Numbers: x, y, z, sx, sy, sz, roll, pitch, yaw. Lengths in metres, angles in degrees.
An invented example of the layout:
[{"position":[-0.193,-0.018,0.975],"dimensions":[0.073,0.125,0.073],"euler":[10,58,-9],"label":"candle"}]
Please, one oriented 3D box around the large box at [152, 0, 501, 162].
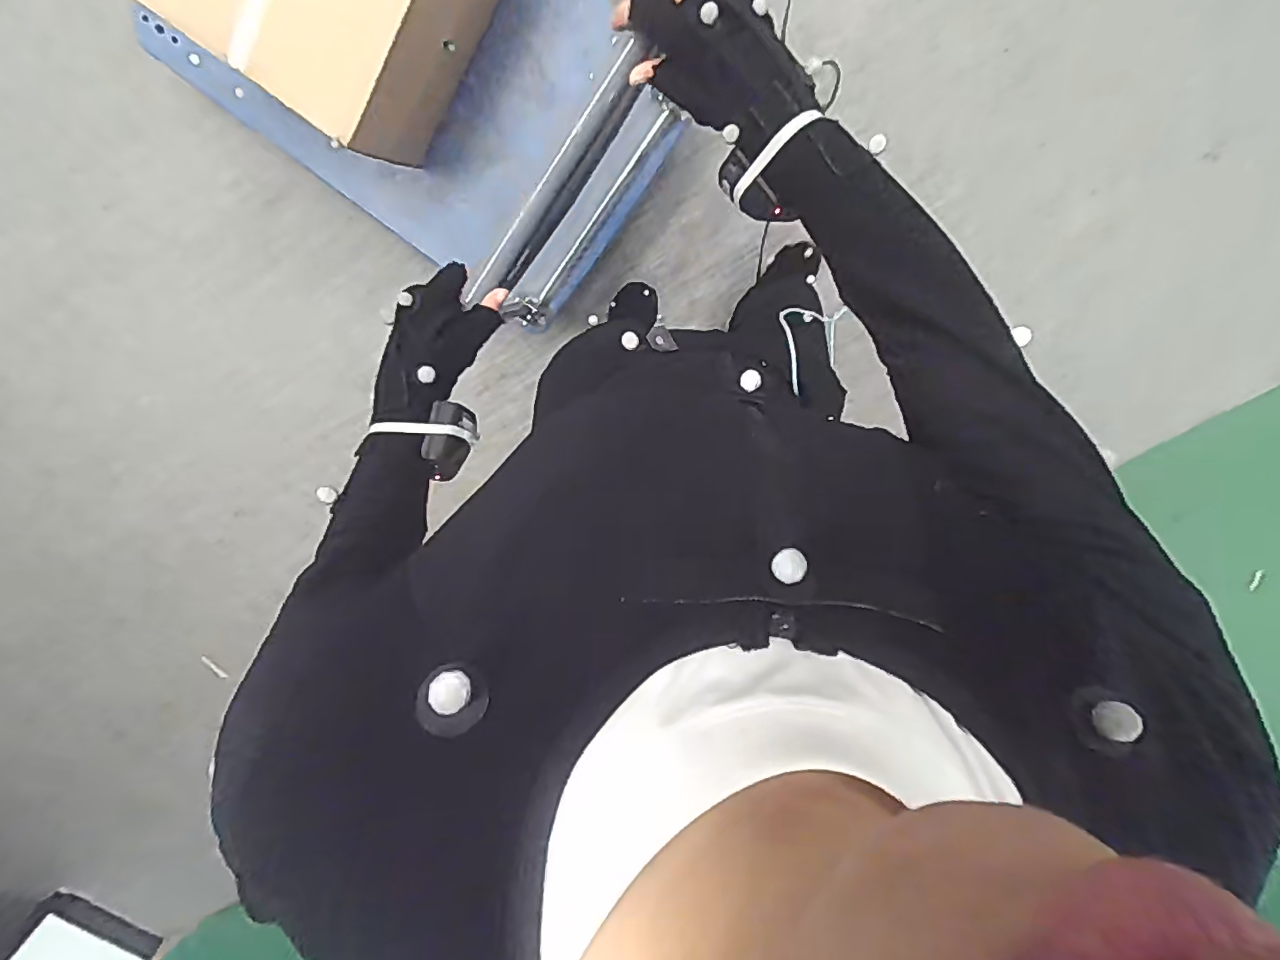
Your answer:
[{"position":[-0.423,-0.777,0.817],"dimensions":[0.320,0.320,0.408],"euler":[32,110,-16],"label":"large box"}]
